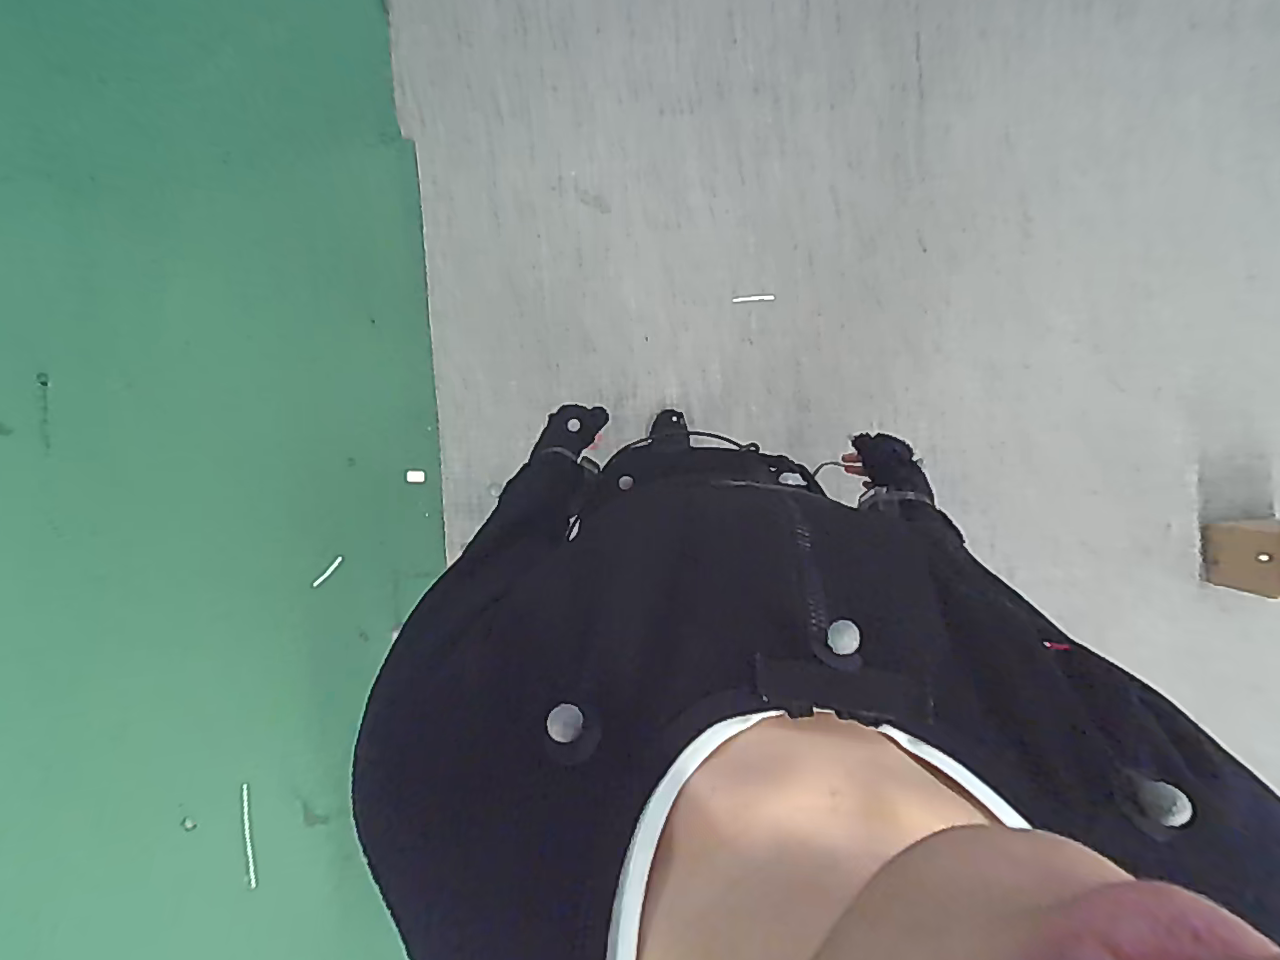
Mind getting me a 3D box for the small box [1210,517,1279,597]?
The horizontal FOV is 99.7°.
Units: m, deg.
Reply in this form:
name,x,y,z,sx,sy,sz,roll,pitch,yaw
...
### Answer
name,x,y,z,sx,sy,sz,roll,pitch,yaw
small box,1.582,0.185,1.334,0.179,0.176,0.168,-4,93,2
